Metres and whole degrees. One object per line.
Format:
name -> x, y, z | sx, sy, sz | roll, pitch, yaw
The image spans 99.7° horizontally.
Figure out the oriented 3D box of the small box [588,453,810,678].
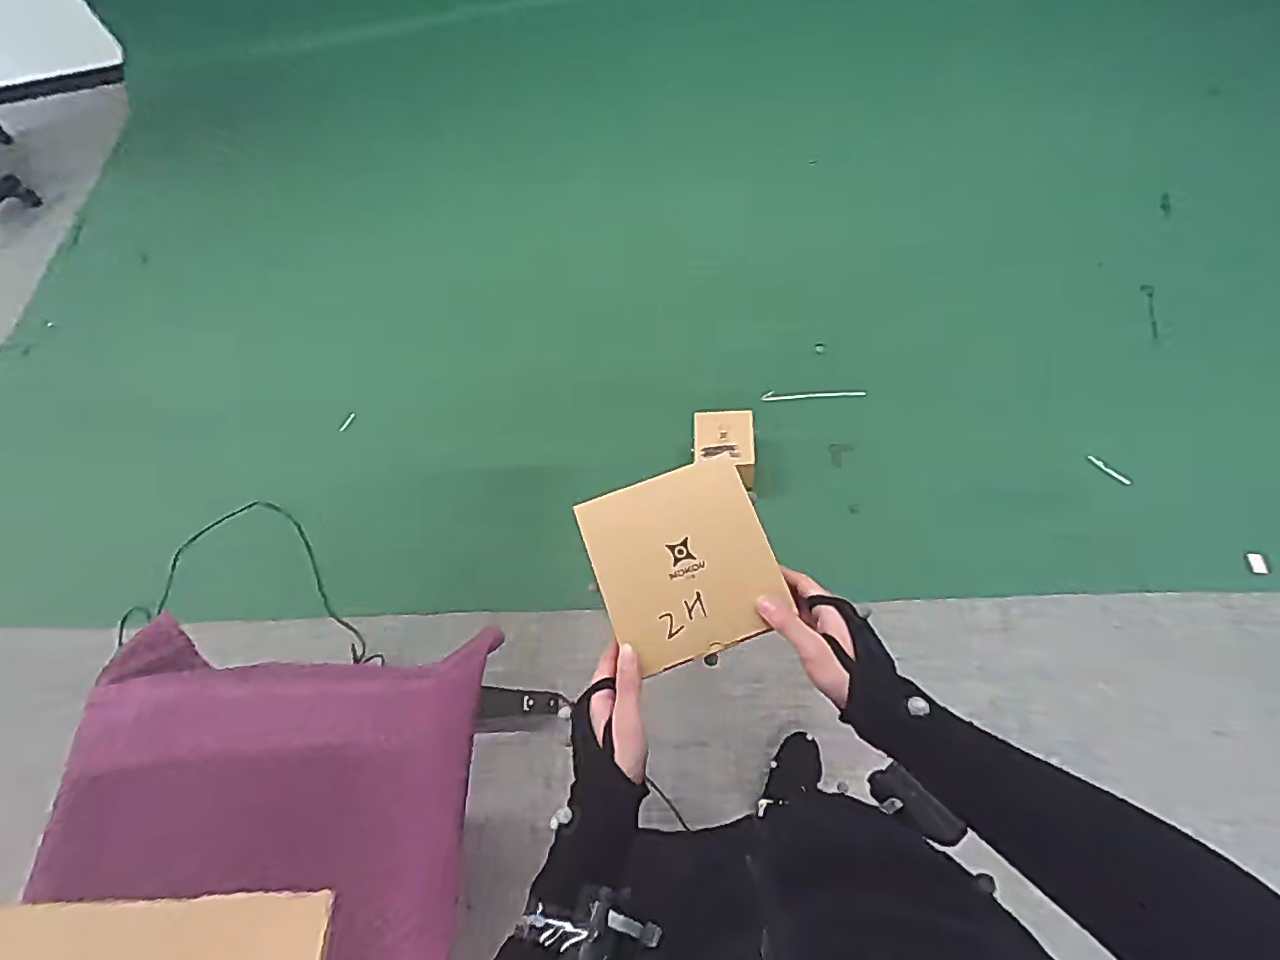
small box -> 0.054, 0.098, 0.580 | 0.168, 0.176, 0.179 | -19, 73, -2
